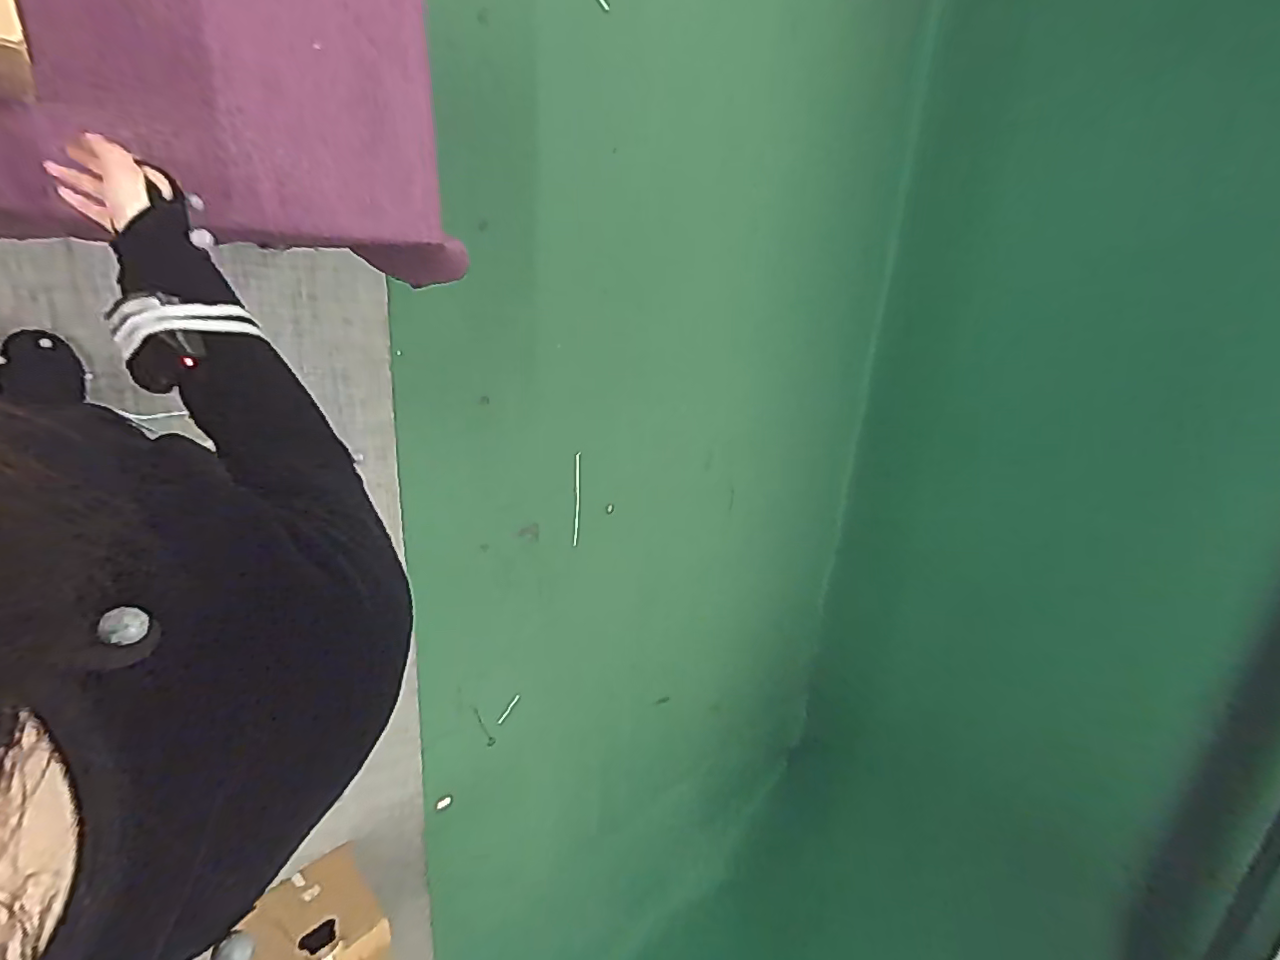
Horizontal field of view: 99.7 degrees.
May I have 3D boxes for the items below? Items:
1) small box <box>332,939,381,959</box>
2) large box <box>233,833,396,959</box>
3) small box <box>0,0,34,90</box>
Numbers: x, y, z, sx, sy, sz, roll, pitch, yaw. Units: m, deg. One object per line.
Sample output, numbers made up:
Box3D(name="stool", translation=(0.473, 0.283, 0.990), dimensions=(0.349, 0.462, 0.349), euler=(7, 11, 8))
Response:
Box3D(name="small box", translation=(-0.769, 1.391, 1.431), dimensions=(0.168, 0.176, 0.179), euler=(-2, 106, -48))
Box3D(name="large box", translation=(-0.949, 1.377, 1.601), dimensions=(0.320, 0.320, 0.408), euler=(-16, 118, -43))
Box3D(name="small box", translation=(-0.536, -0.384, 0.349), dimensions=(0.168, 0.176, 0.179), euler=(-17, 118, -43))
